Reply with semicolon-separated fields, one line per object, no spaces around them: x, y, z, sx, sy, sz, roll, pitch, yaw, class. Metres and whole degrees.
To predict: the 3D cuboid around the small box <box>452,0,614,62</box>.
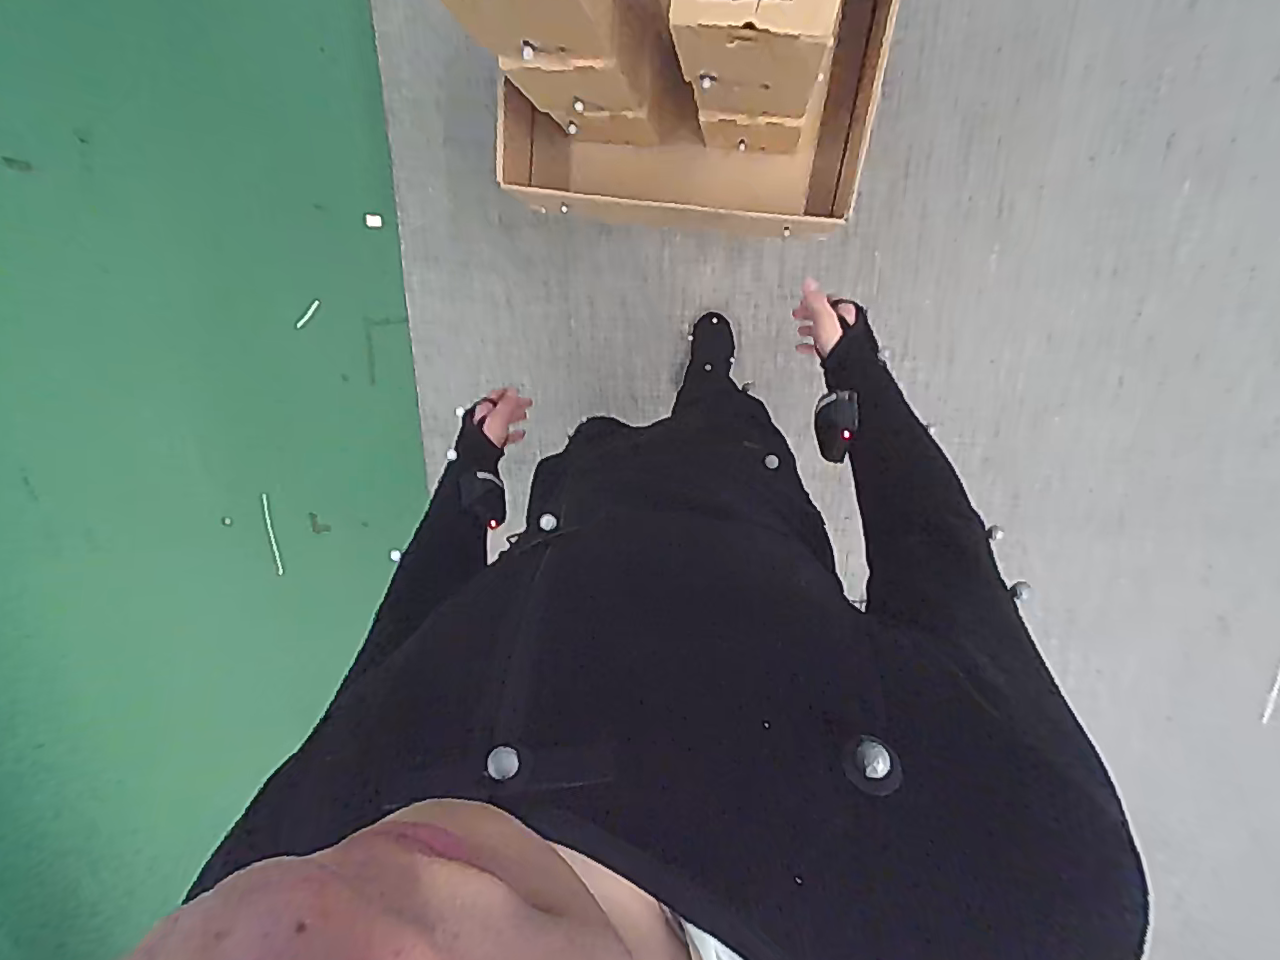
-0.123;-0.607;0.601;0.168;0.176;0.179;8;109;8;small box

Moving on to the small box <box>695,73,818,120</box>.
0.166;-0.618;0.727;0.168;0.176;0.179;11;111;6;small box

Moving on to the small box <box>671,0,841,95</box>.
0.137;-0.546;0.581;0.168;0.176;0.179;12;112;5;small box

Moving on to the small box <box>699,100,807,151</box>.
0.192;-0.663;0.884;0.168;0.176;0.179;9;111;7;small box

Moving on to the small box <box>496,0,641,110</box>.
-0.093;-0.649;0.756;0.168;0.176;0.179;6;110;8;small box
